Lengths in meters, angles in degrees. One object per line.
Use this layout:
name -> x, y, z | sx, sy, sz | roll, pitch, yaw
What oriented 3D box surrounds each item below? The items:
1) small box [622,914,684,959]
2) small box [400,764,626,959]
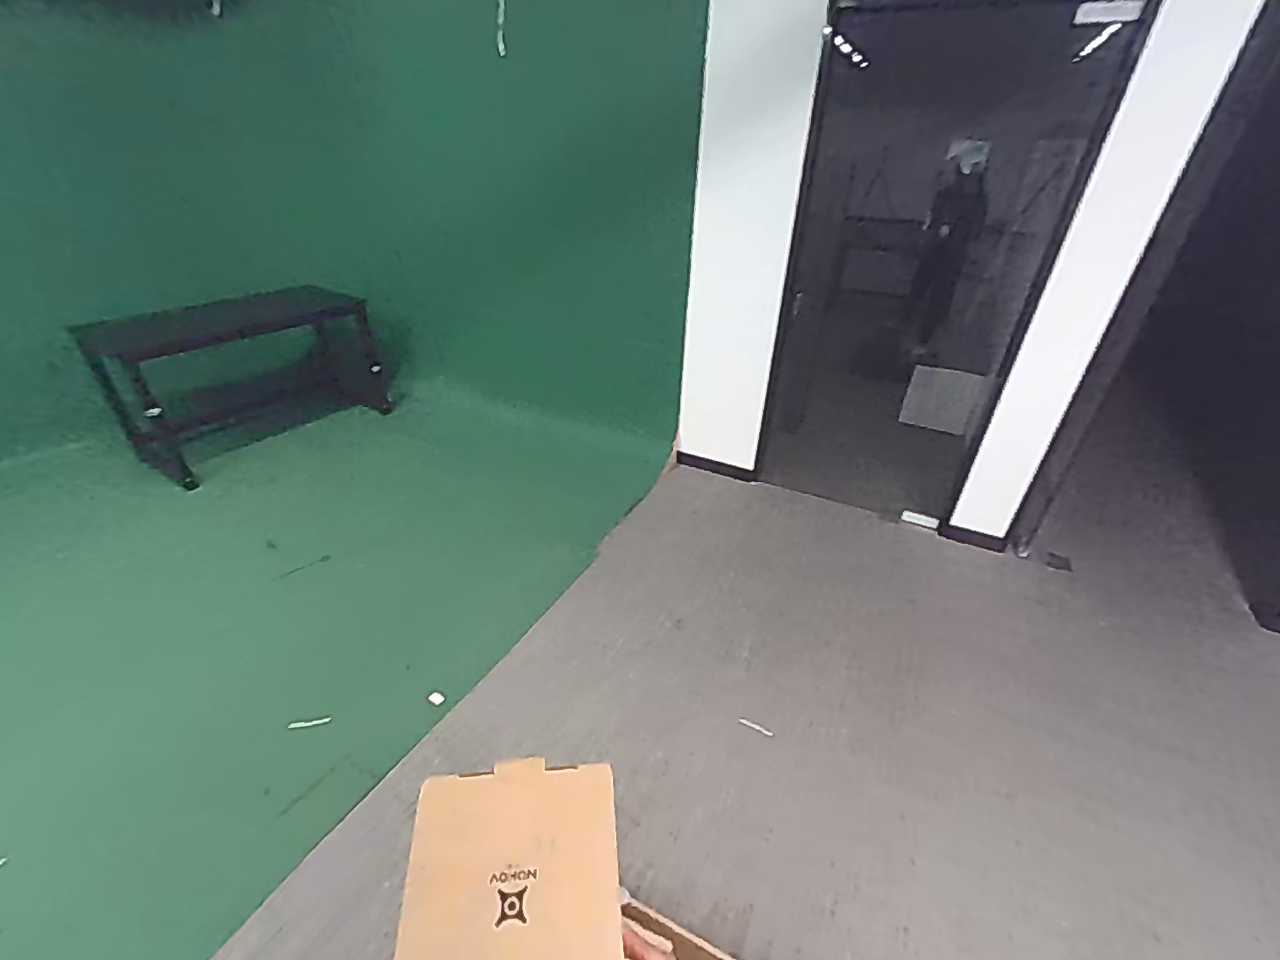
small box -> -0.030, 0.912, 0.952 | 0.168, 0.176, 0.179 | 15, 36, 17
small box -> -0.103, 0.378, 0.480 | 0.168, 0.176, 0.179 | -2, 47, -7
